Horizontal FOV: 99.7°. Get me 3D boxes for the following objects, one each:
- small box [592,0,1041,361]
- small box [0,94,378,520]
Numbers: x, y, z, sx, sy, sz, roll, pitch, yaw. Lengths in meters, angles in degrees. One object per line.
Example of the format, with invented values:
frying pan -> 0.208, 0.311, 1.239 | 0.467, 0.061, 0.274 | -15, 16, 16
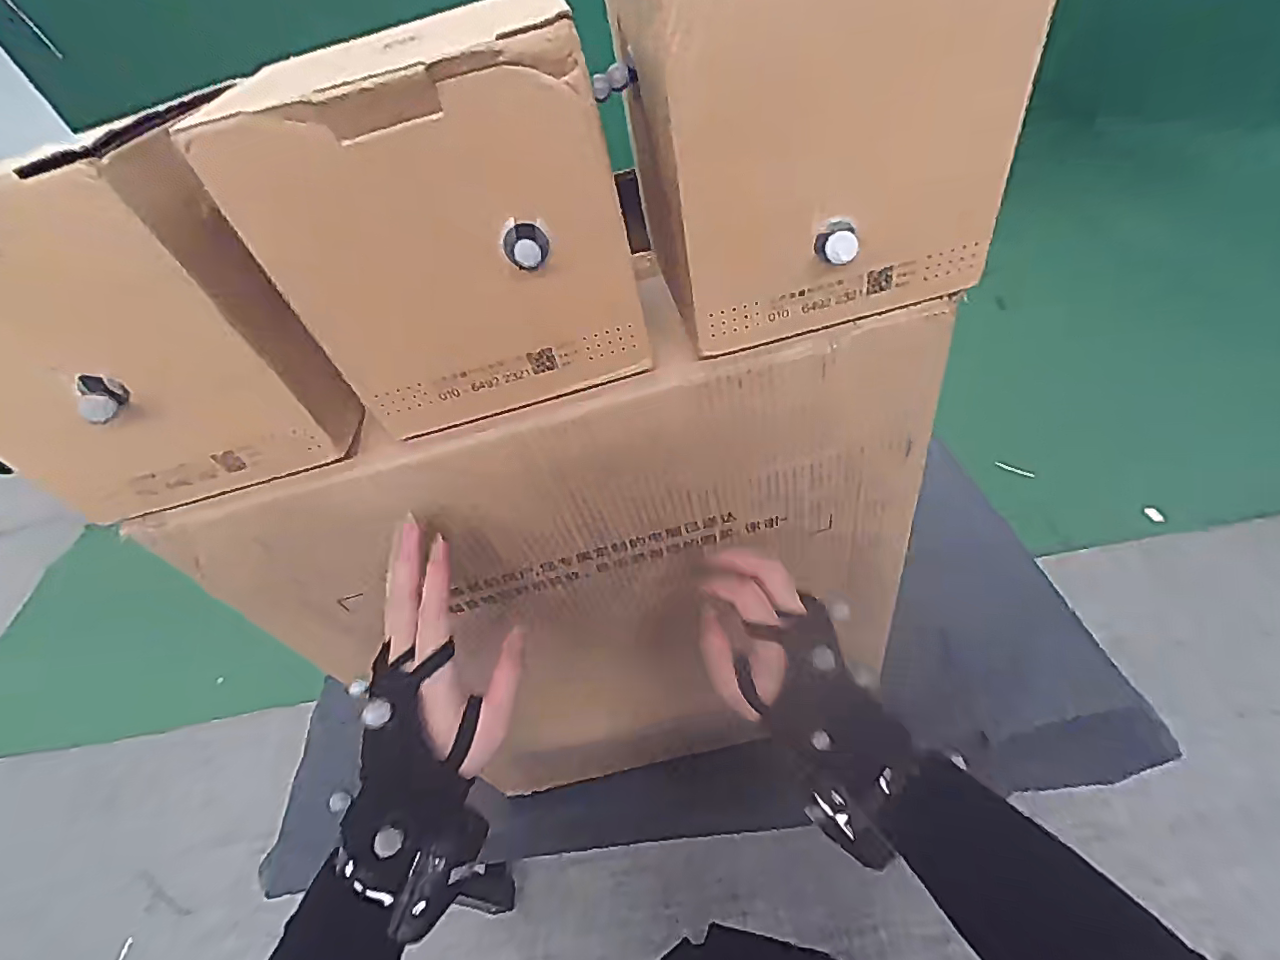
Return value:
small box -> 0.074, -0.196, 0.305 | 0.168, 0.176, 0.179 | -15, 46, 3
small box -> -0.291, -0.095, 0.329 | 0.168, 0.176, 0.179 | -16, 45, 4
